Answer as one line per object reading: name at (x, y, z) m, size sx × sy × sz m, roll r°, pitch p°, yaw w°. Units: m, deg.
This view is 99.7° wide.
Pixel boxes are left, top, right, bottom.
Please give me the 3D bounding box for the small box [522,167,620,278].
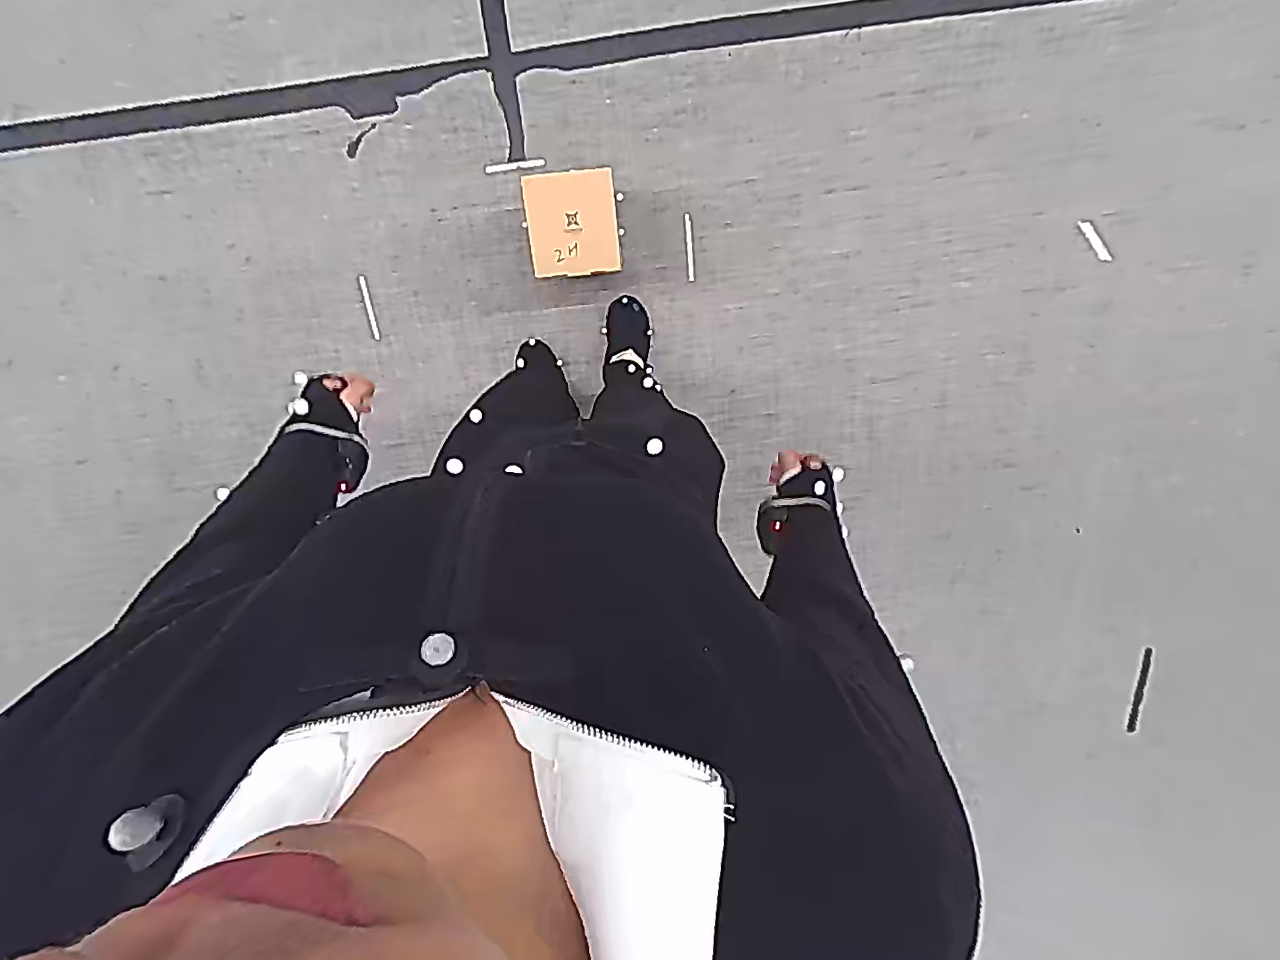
small box at (-0.129, -0.499, 1.069) m, size 0.168 × 0.176 × 0.179 m, roll -5°, pitch 111°, yaw 0°
